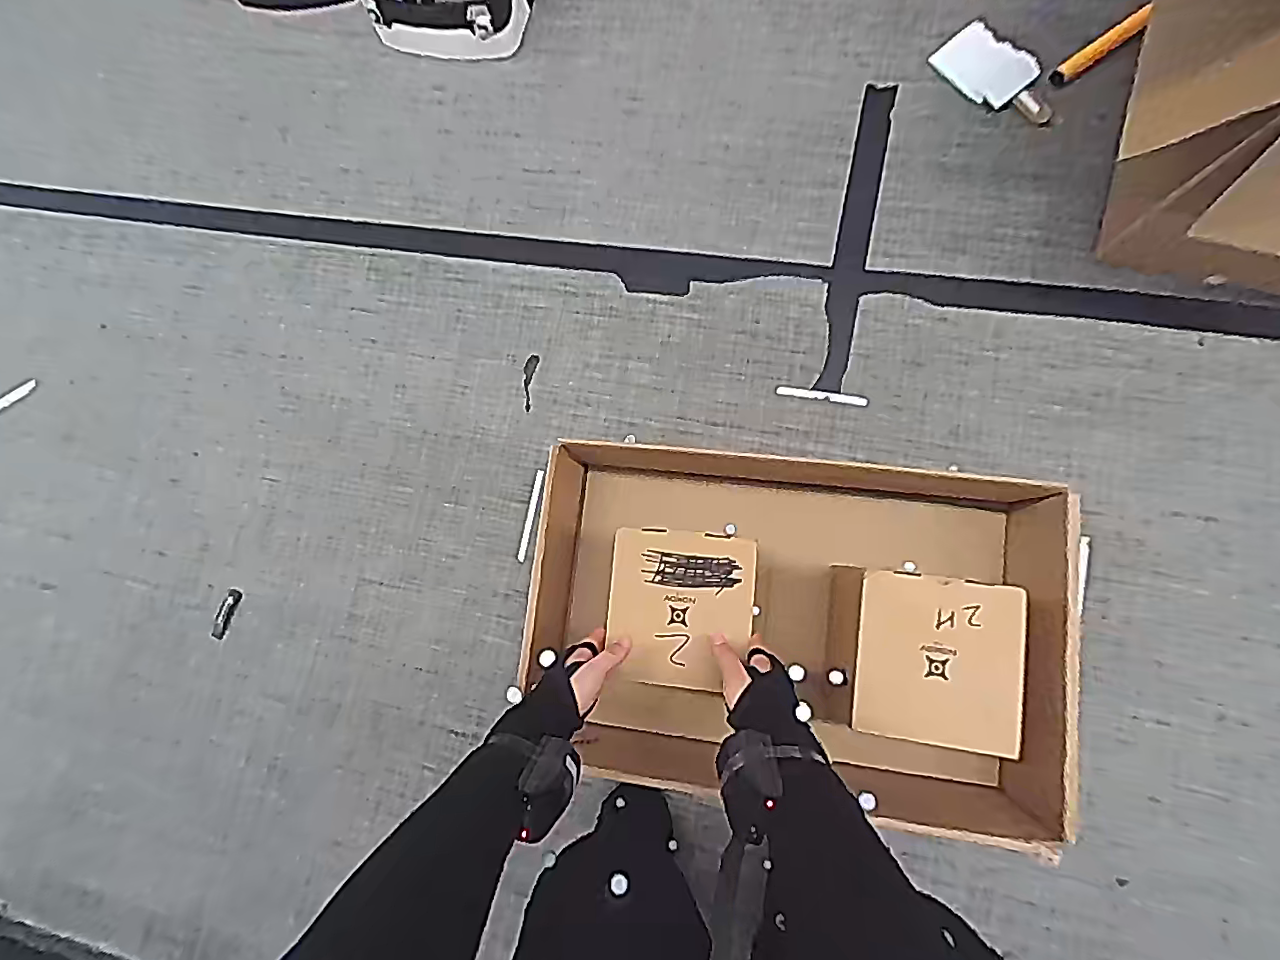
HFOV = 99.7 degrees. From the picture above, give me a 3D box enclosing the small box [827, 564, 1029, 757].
[{"bbox_3d":[0.328,0.199,0.649,0.168,0.176,0.179,7,82,8],"label":"small box"}]
